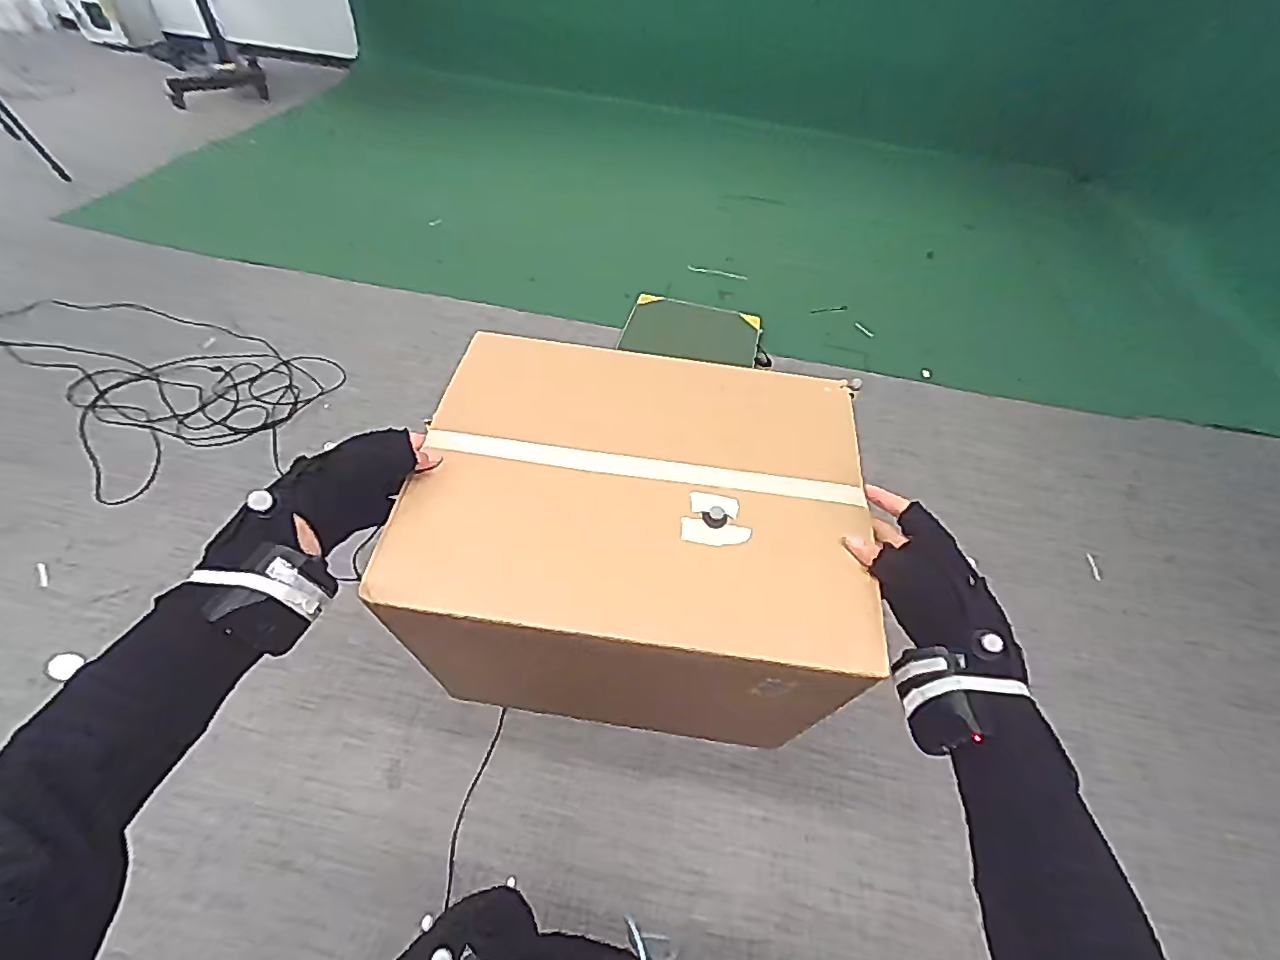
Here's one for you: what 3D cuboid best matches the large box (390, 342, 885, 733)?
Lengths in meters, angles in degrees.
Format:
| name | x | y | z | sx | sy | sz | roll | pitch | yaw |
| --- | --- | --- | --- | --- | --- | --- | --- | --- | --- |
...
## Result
| name | x | y | z | sx | sy | sz | roll | pitch | yaw |
| --- | --- | --- | --- | --- | --- | --- | --- | --- | --- |
| large box | 0.001 | 0.080 | 0.629 | 0.408 | 0.320 | 0.320 | 8 | 56 | 0 |
